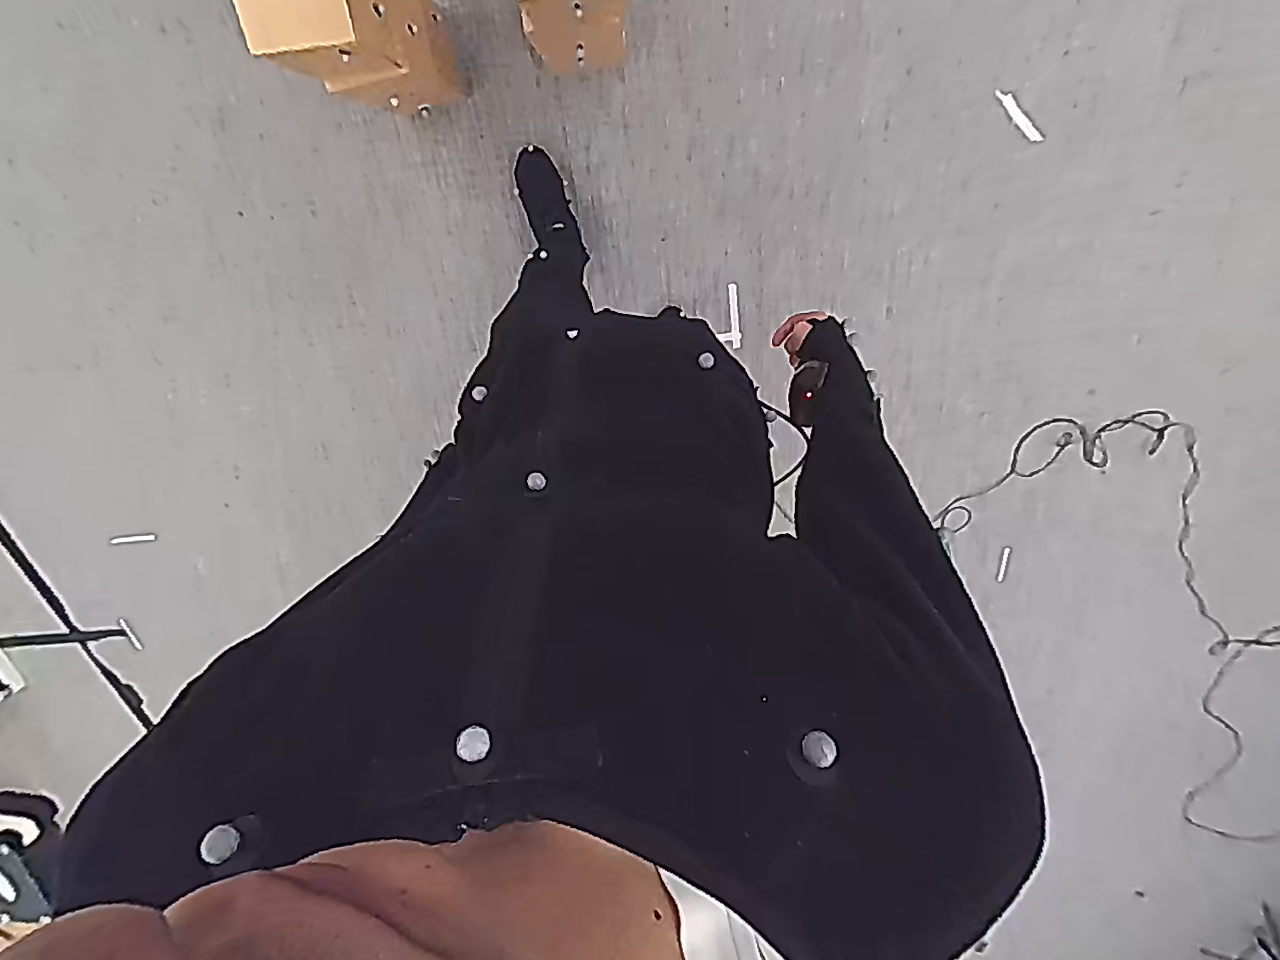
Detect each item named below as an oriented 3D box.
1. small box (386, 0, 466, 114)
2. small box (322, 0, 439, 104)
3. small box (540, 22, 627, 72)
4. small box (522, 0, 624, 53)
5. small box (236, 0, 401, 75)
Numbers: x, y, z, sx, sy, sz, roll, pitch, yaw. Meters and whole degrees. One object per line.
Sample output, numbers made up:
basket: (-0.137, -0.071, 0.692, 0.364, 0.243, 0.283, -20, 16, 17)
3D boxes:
small box: (-0.499, -0.918, 1.162, 0.168, 0.176, 0.179, -11, 116, 6)
small box: (-0.506, -0.839, 1.018, 0.168, 0.176, 0.179, -9, 117, 6)
small box: (-0.123, -0.977, 1.132, 0.179, 0.176, 0.168, -5, 117, 2)
small box: (-0.123, -0.904, 0.984, 0.179, 0.176, 0.168, -4, 116, 1)
small box: (-0.520, -0.776, 0.869, 0.179, 0.176, 0.168, -5, 116, 3)
